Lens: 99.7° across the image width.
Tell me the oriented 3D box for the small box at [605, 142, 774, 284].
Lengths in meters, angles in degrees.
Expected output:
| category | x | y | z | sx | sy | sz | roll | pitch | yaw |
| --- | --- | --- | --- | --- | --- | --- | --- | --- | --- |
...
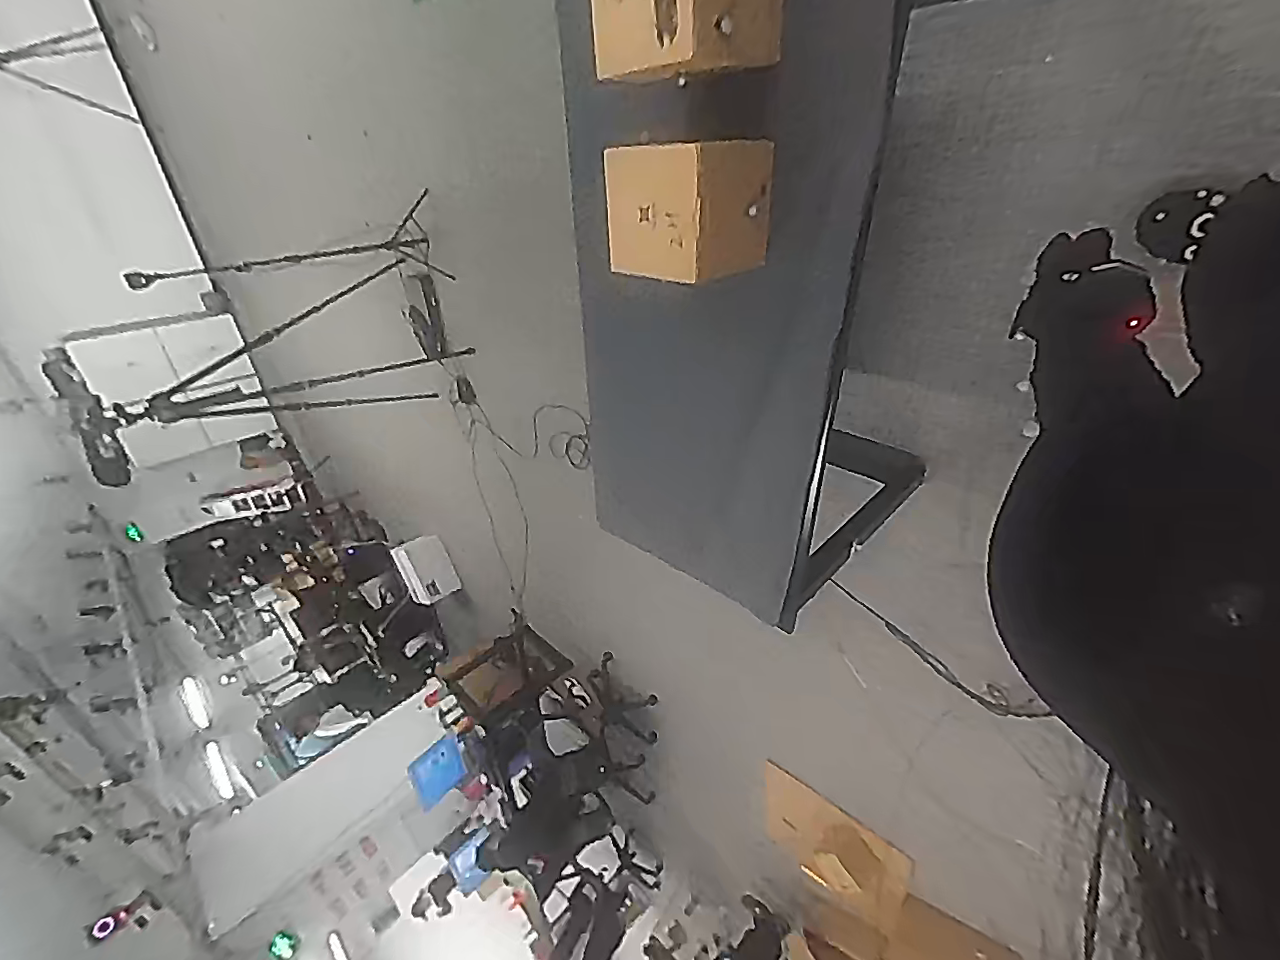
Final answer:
| category | x | y | z | sx | sy | sz | roll | pitch | yaw |
| --- | --- | --- | --- | --- | --- | --- | --- | --- | --- |
| small box | 0.071 | -0.396 | 0.794 | 0.179 | 0.176 | 0.168 | 26 | 132 | 38 |
